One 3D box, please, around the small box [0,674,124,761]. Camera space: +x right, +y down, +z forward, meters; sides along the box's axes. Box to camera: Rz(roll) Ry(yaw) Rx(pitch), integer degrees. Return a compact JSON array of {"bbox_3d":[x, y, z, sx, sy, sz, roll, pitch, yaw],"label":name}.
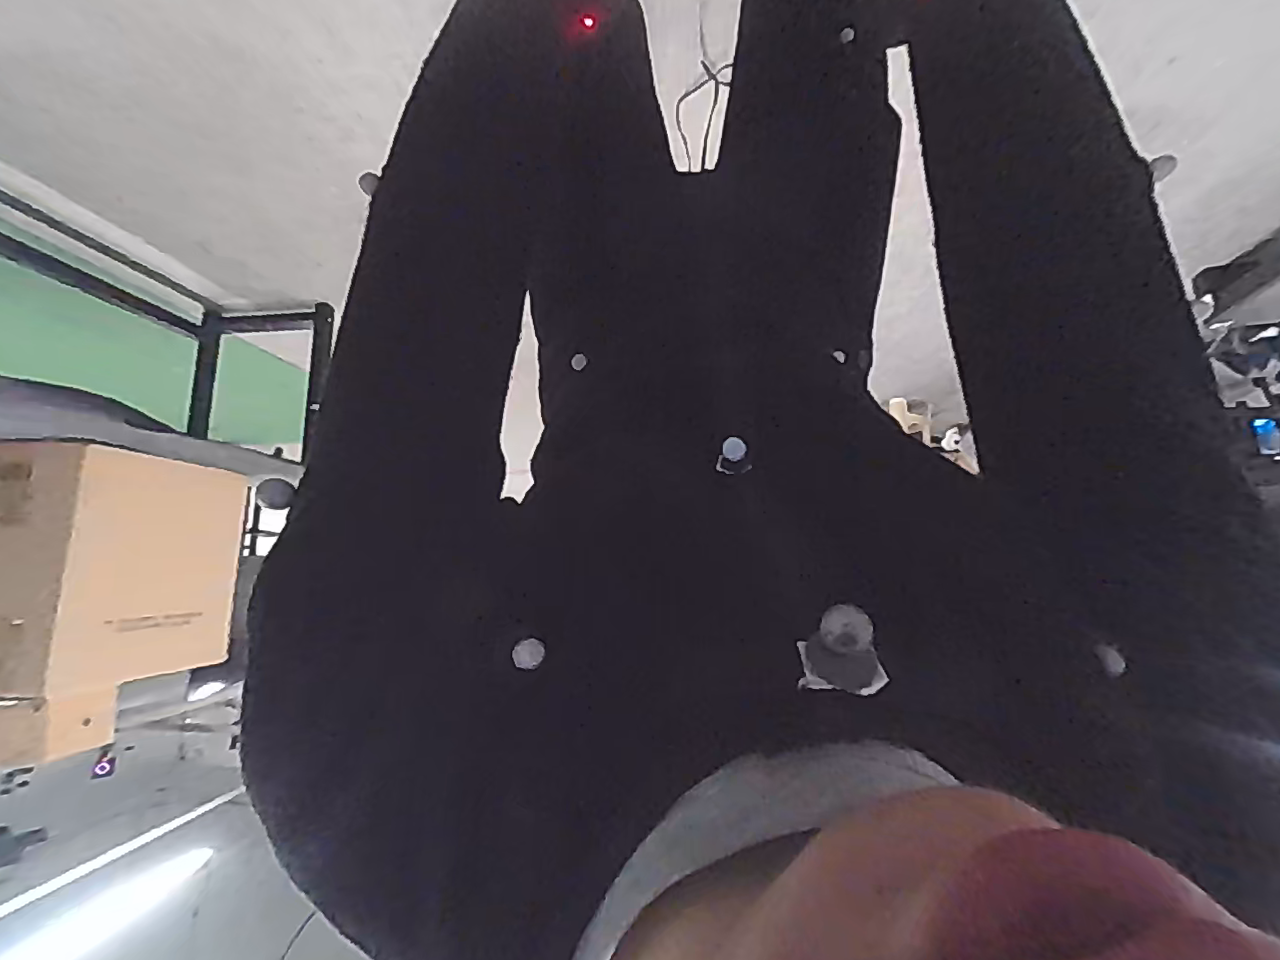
[{"bbox_3d":[-1.551,0.632,1.455,0.168,0.176,0.179,-6,172,2],"label":"small box"}]
